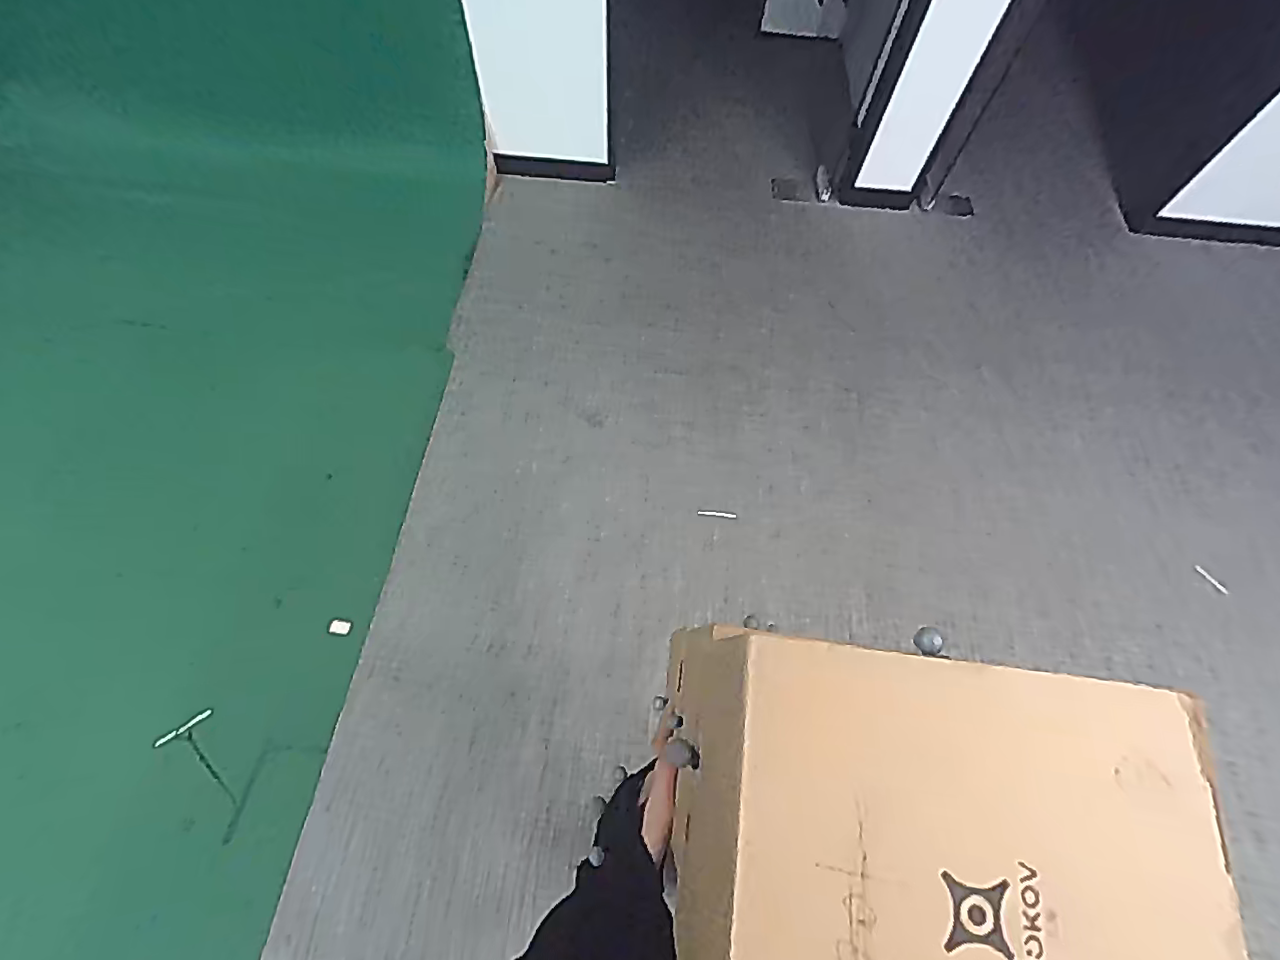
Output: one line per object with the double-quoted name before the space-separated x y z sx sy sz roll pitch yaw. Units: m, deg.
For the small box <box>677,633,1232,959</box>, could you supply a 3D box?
"small box" 0.117 0.172 0.265 0.179 0.176 0.168 7 72 3
